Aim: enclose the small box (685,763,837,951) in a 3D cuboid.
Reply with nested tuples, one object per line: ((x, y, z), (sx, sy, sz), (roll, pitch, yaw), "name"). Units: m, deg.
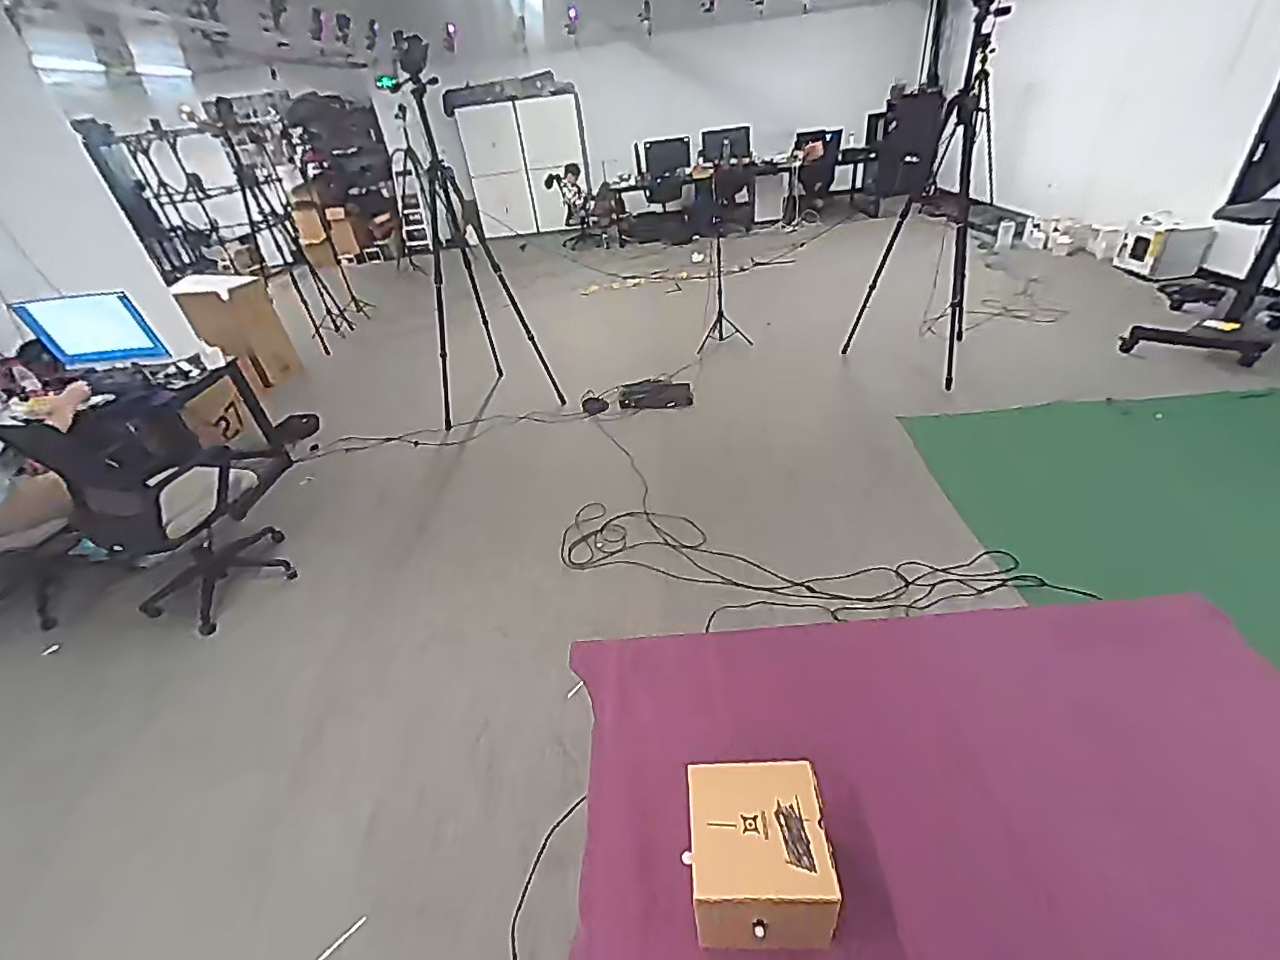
((0.156, 0.513, 0.741), (0.179, 0.176, 0.168), (-5, 33, 6), "small box")
